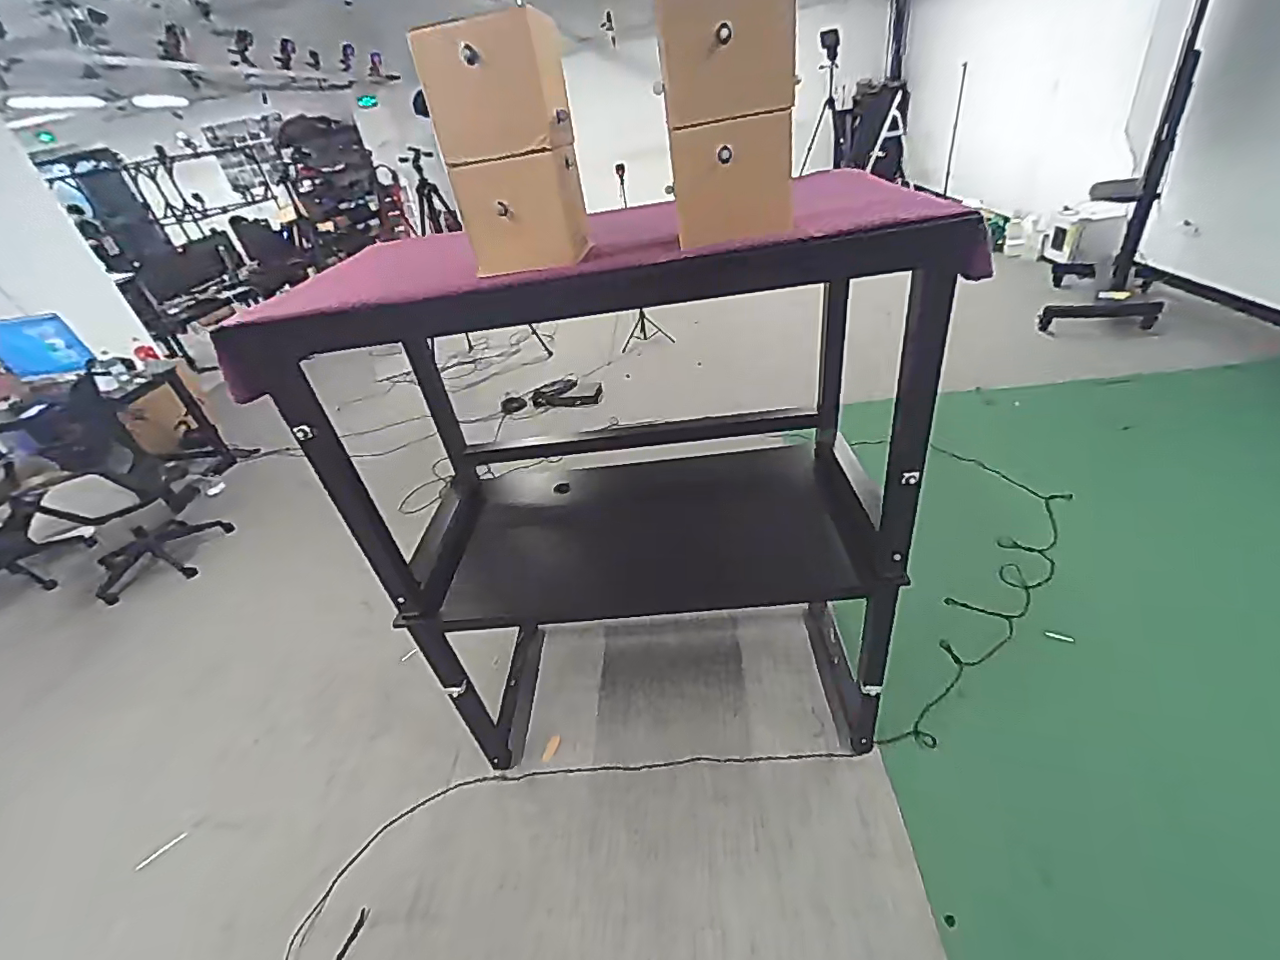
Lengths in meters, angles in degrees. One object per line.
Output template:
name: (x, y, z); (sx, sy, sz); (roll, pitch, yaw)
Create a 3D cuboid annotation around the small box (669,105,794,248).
small box: (0.144, -0.483, 0.865); (0.179, 0.176, 0.168); (-6, 35, 7)

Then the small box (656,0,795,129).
small box: (0.120, -0.617, 0.774); (0.179, 0.176, 0.168); (-8, 34, 6)

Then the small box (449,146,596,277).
small box: (-0.187, -0.455, 0.918); (0.179, 0.176, 0.168); (-5, 34, 10)

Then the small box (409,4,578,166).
small box: (-0.210, -0.591, 0.828); (0.179, 0.176, 0.168); (-3, 34, 10)
